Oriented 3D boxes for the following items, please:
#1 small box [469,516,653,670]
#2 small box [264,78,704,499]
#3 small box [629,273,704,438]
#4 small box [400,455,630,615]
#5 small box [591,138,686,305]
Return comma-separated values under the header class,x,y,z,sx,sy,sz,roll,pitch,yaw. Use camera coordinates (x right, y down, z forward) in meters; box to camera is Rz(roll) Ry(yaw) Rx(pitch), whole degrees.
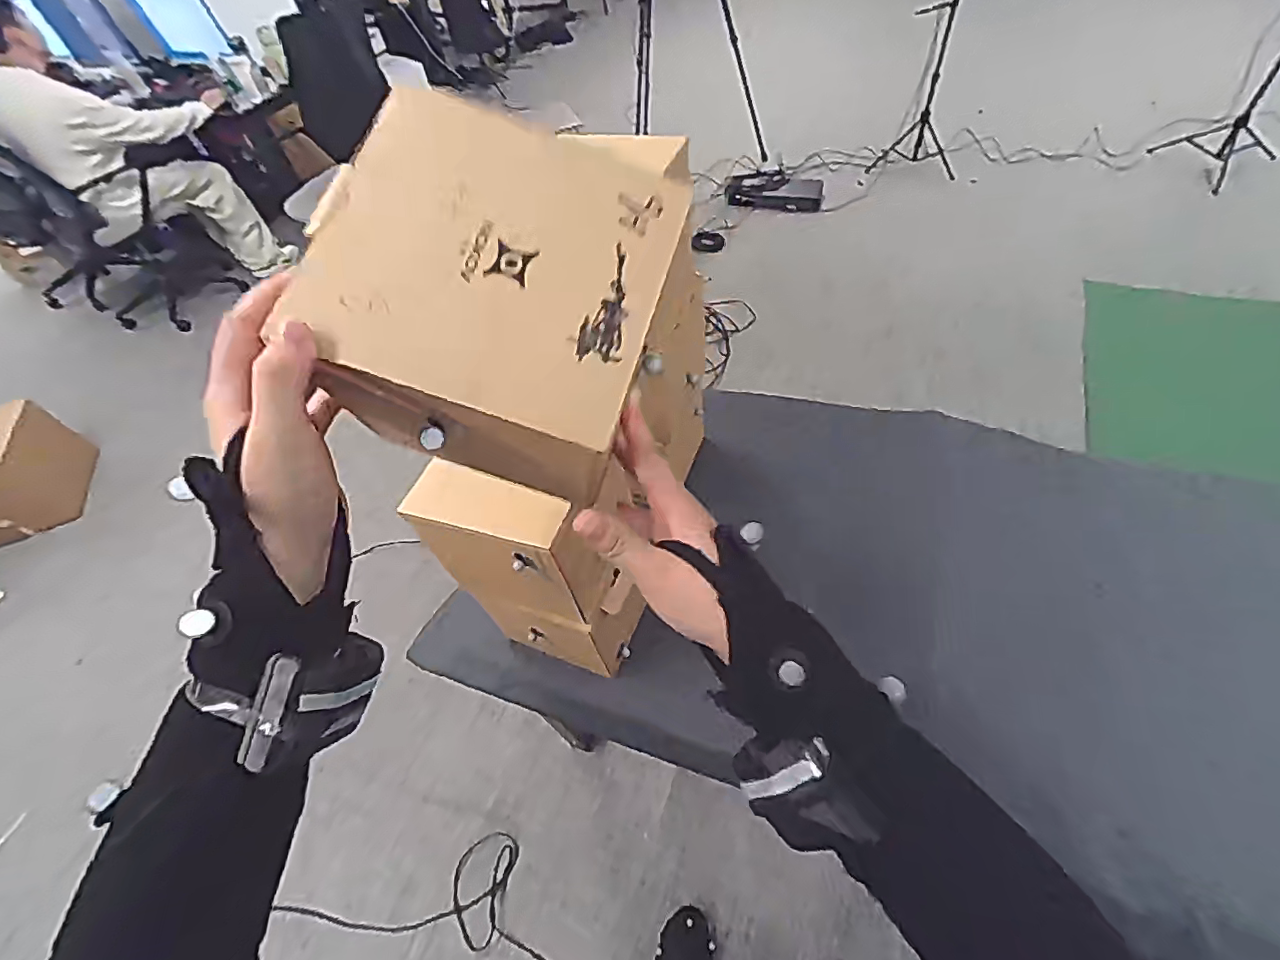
class,x,y,z,sx,sy,sz,roll,pitch,yaw
small box,-0.093,0.140,0.743,0.179,0.176,0.168,14,56,19
small box,-0.079,-0.097,0.350,0.179,0.176,0.168,19,77,-2
small box,-0.017,-0.181,0.769,0.179,0.176,0.168,14,57,18
small box,-0.126,0.036,0.622,0.179,0.176,0.168,10,55,17
small box,-0.043,-0.280,0.643,0.168,0.176,0.179,11,54,15
